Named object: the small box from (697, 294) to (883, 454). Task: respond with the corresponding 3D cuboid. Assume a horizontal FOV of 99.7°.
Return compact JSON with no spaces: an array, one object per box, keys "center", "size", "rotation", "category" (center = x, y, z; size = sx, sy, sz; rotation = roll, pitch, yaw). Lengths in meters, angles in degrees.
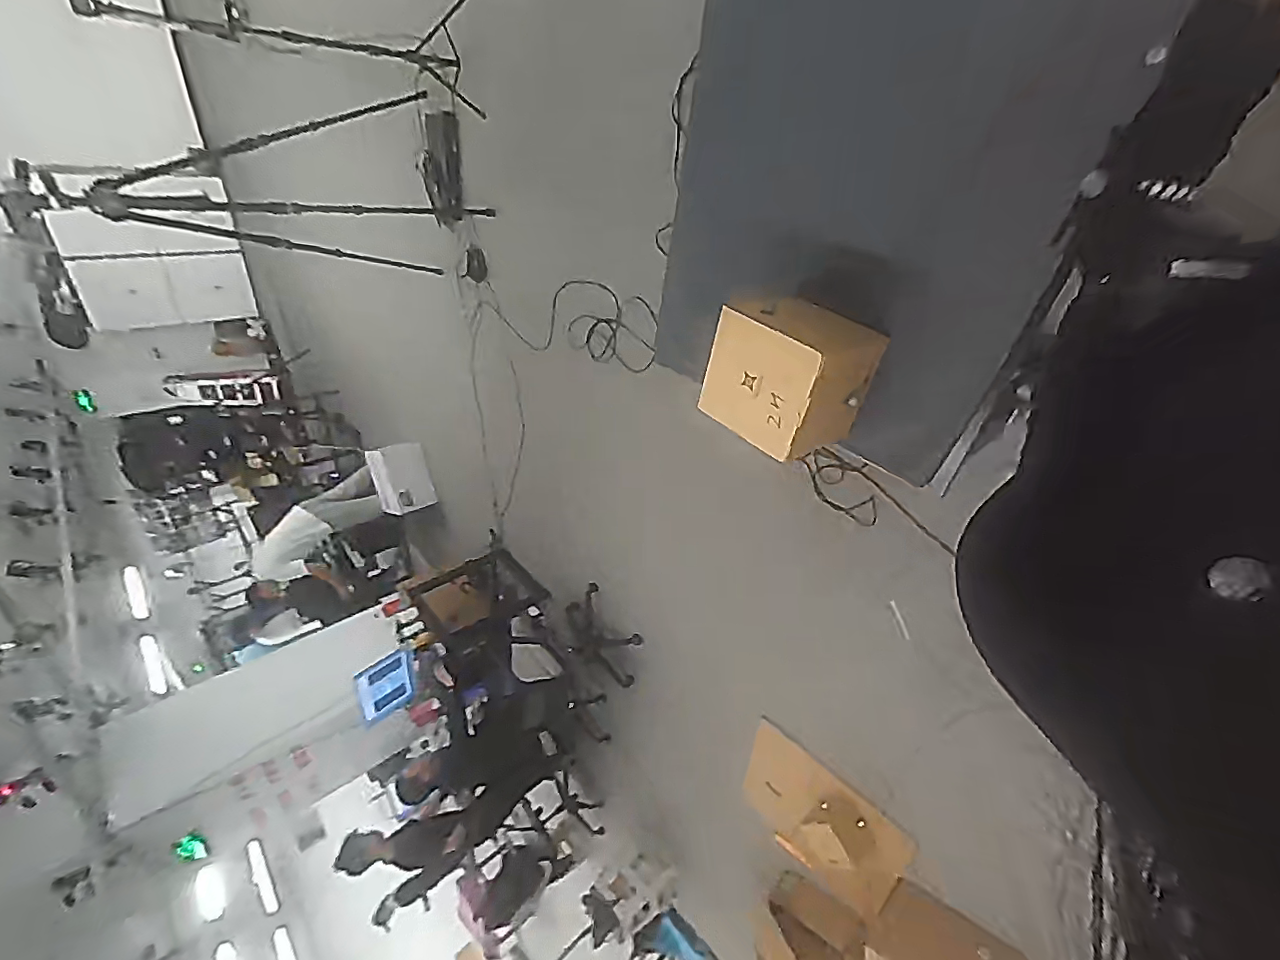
[{"center":[0.216,-0.165,0.799],"size":[0.179,0.176,0.168],"rotation":[40,135,33],"category":"small box"}]
